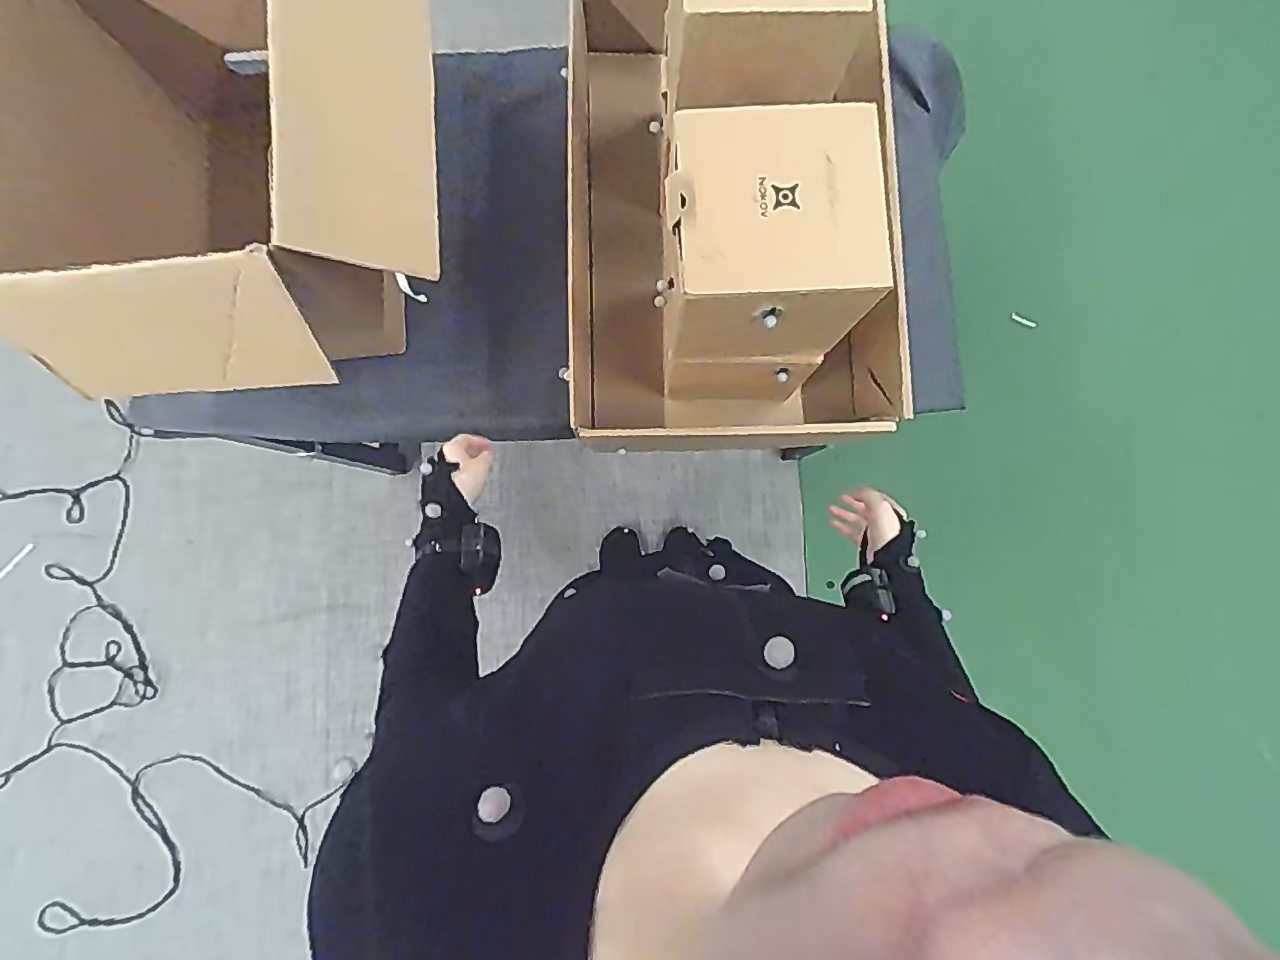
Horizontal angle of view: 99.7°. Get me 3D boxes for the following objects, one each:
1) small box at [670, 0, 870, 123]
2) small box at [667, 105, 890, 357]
[{"bbox_3d":[0.117,-0.479,0.552,0.168,0.176,0.179,0,87,0],"label":"small box"},{"bbox_3d":[0.117,-0.226,0.531,0.179,0.176,0.168,-3,85,0],"label":"small box"}]
